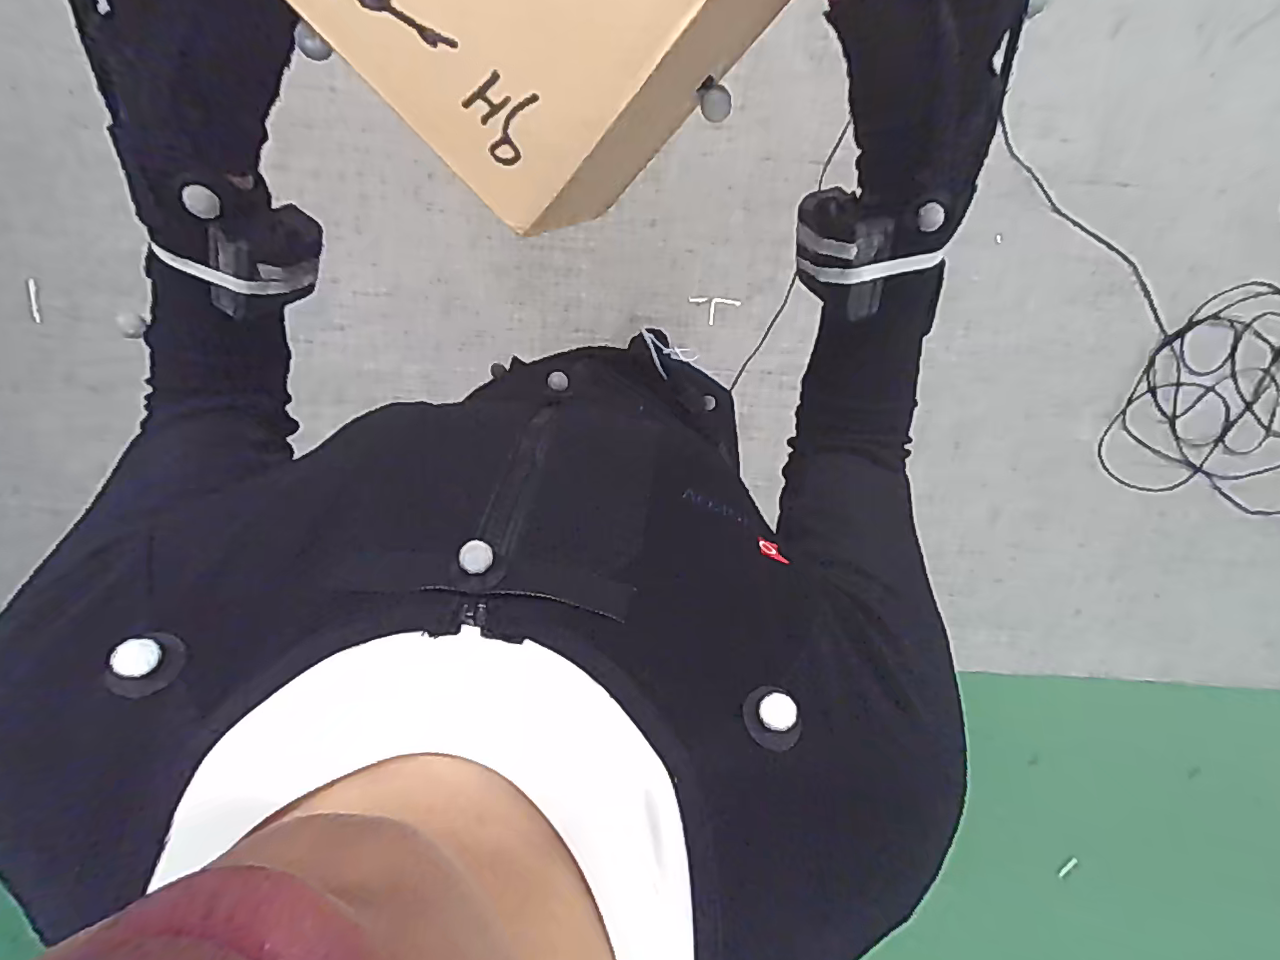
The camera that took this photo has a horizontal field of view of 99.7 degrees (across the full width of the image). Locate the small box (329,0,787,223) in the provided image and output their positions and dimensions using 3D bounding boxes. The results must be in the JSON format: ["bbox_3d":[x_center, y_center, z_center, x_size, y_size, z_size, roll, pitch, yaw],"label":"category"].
[{"bbox_3d":[-0.026,-0.240,0.223,0.179,0.176,0.168,-40,108,24],"label":"small box"}]
